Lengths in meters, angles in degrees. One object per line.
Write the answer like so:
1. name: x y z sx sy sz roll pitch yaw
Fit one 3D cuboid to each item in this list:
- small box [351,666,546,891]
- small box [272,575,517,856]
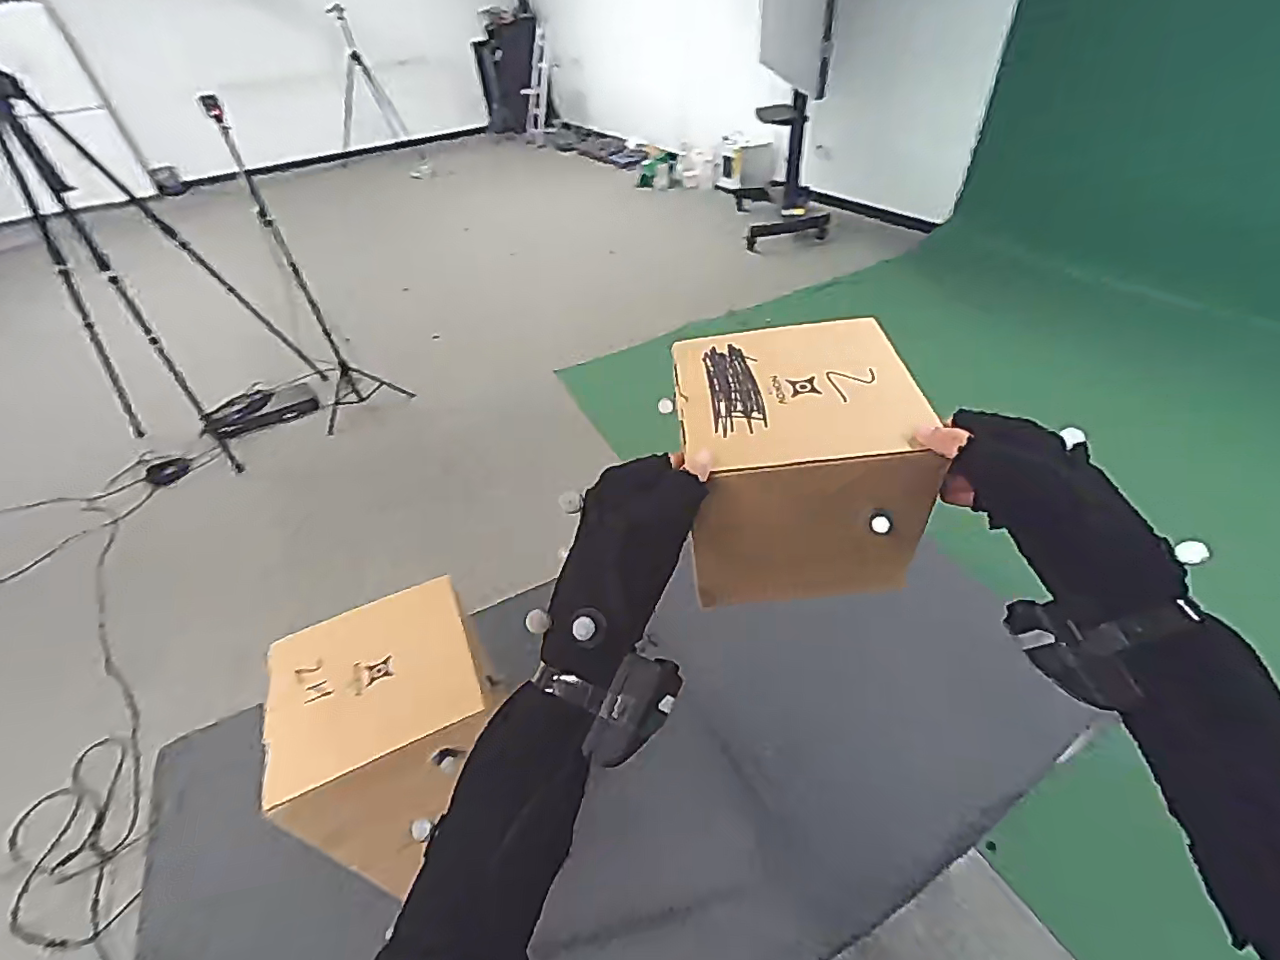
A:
1. small box: -0.231 0.356 0.659 0.179 0.176 0.168 -19 44 -16
2. small box: -0.234 0.234 0.547 0.179 0.176 0.168 -21 43 -17
